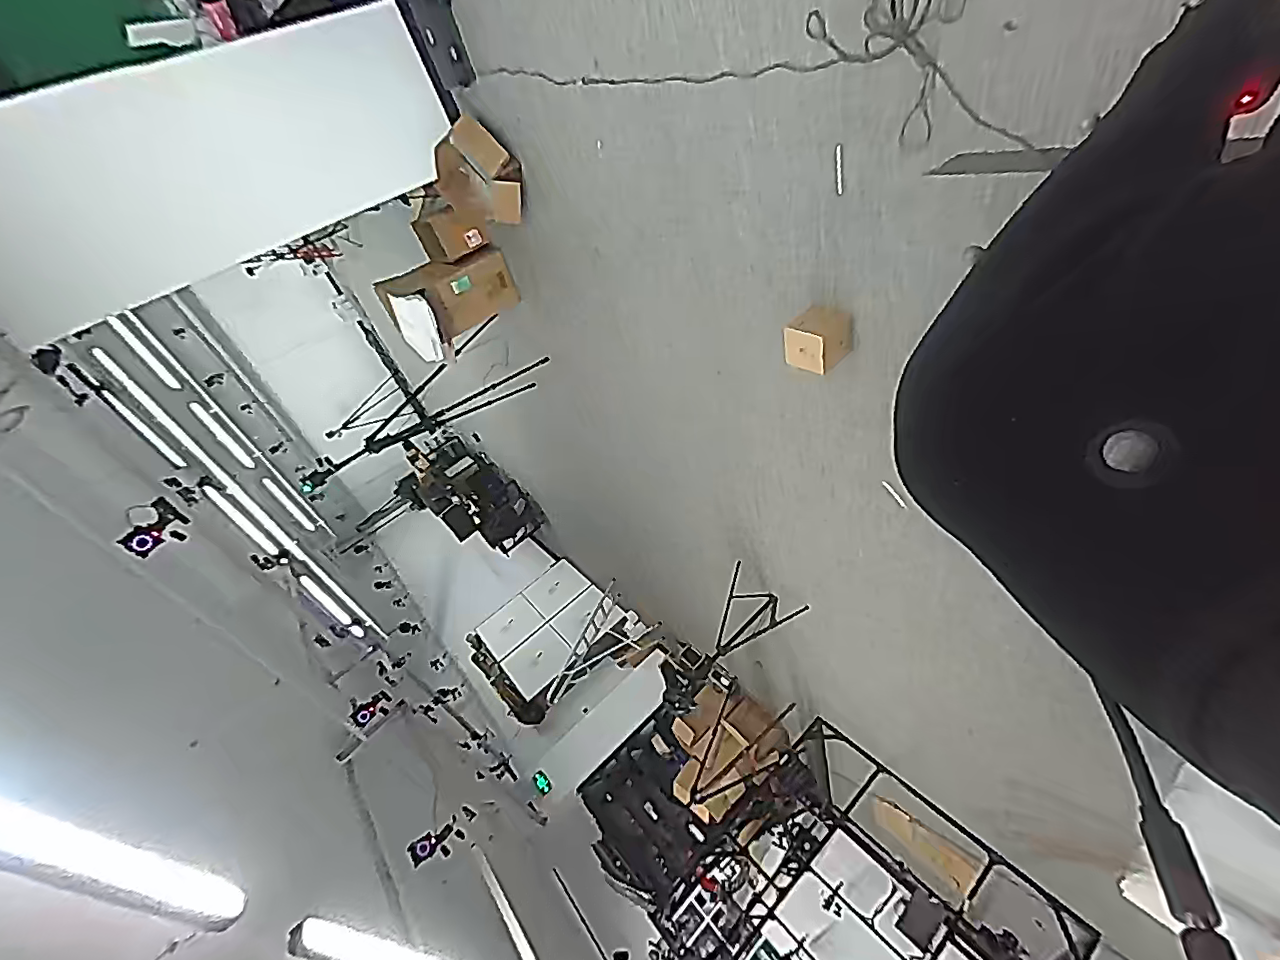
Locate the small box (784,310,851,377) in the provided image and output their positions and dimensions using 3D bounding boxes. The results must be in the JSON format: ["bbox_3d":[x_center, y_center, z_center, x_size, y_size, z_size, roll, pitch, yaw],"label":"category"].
[{"bbox_3d":[0.668,-0.520,2.043,0.179,0.176,0.168,32,152,41],"label":"small box"}]
